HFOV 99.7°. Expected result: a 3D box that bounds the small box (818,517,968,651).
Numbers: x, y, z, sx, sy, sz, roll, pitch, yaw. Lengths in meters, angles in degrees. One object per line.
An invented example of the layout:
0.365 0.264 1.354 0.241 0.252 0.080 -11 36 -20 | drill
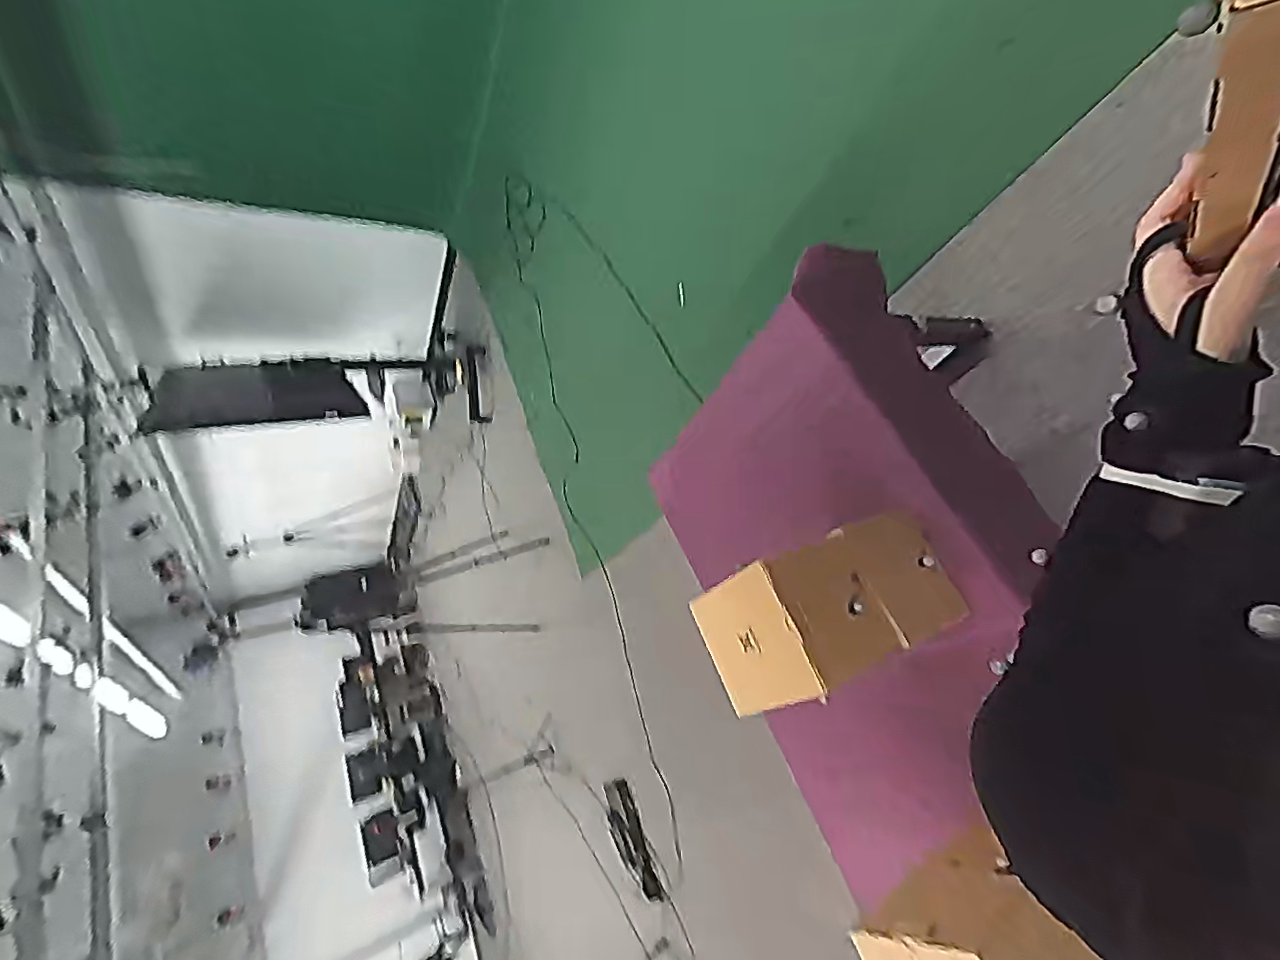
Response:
0.350 0.168 0.828 0.168 0.176 0.179 -50 57 49 | small box

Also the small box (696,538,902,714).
0.213 0.198 0.744 0.179 0.176 0.168 -49 59 48 | small box

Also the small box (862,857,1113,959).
0.386 0.535 0.576 0.168 0.176 0.179 -49 59 48 | small box
